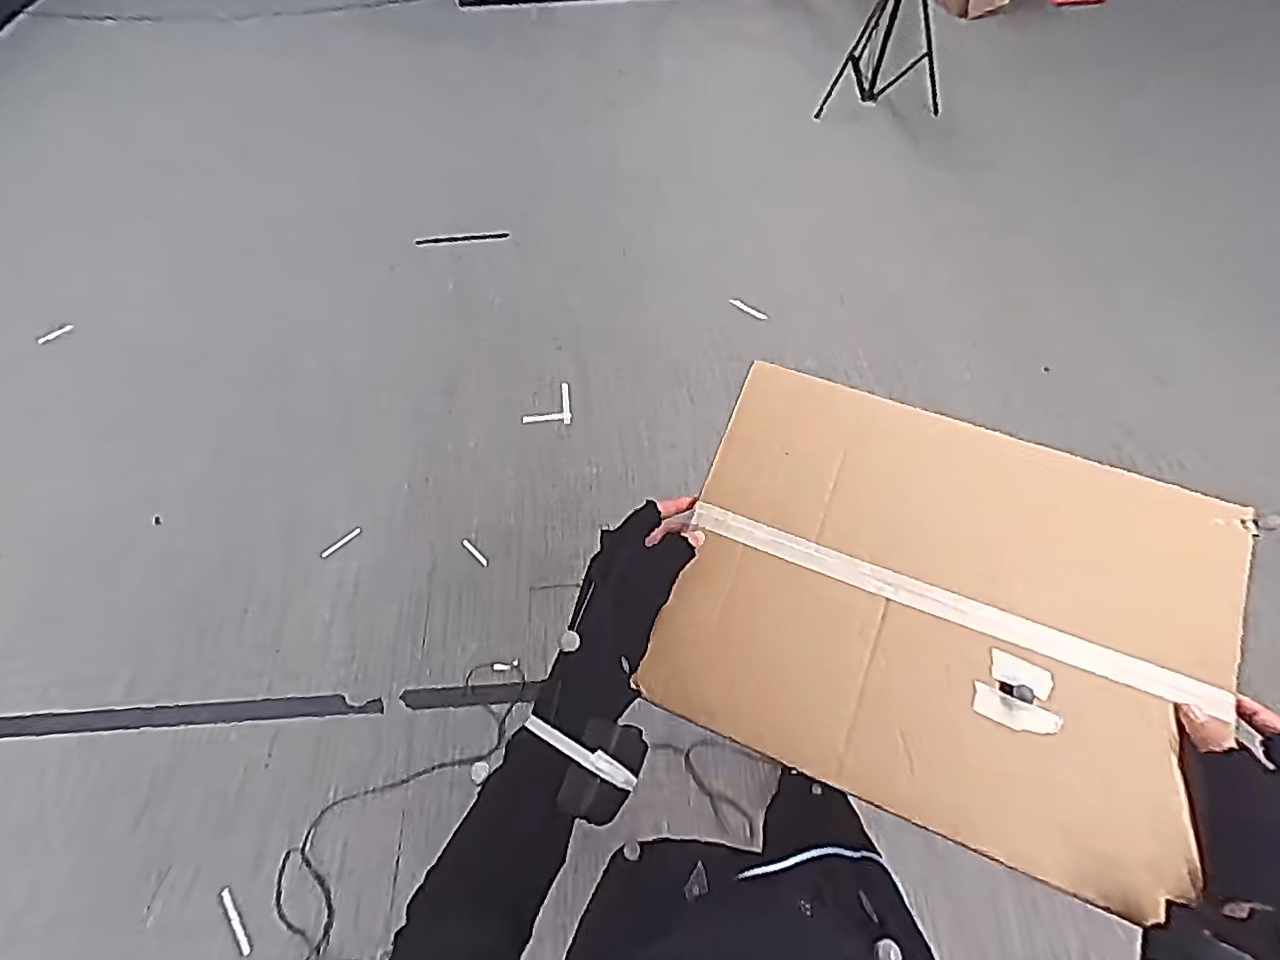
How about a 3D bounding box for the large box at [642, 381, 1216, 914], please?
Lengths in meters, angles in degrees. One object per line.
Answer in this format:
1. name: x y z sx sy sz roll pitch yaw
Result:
1. large box: 0.249 0.146 0.587 0.408 0.320 0.320 20 77 11
